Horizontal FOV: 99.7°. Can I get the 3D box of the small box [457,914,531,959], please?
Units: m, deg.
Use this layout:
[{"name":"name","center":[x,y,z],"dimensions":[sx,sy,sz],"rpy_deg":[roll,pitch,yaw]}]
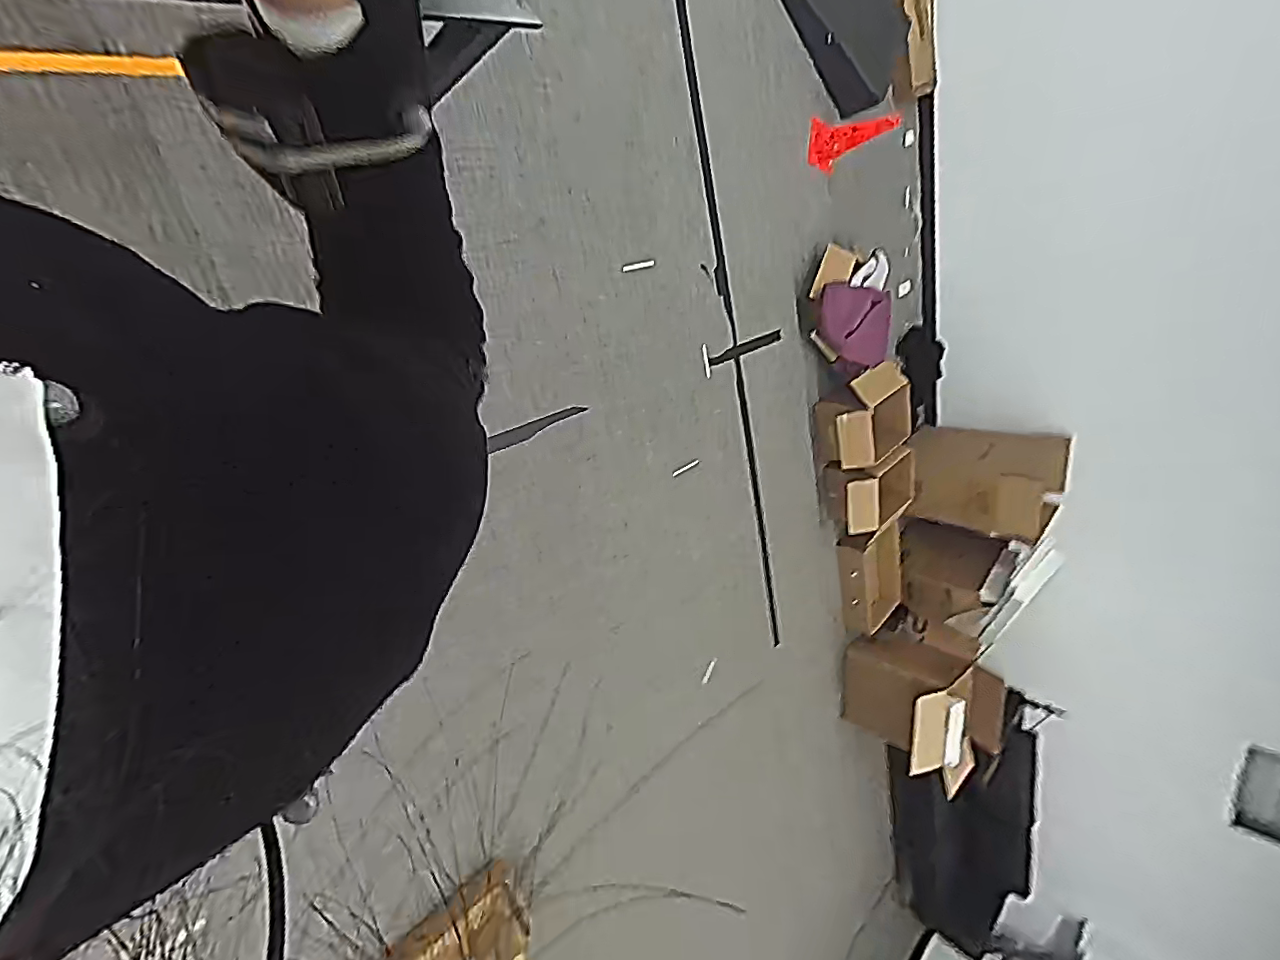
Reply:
[{"name":"small box","center":[-0.455,1.539,1.716],"dimensions":[0.168,0.176,0.179],"rpy_deg":[-27,115,-35]}]
